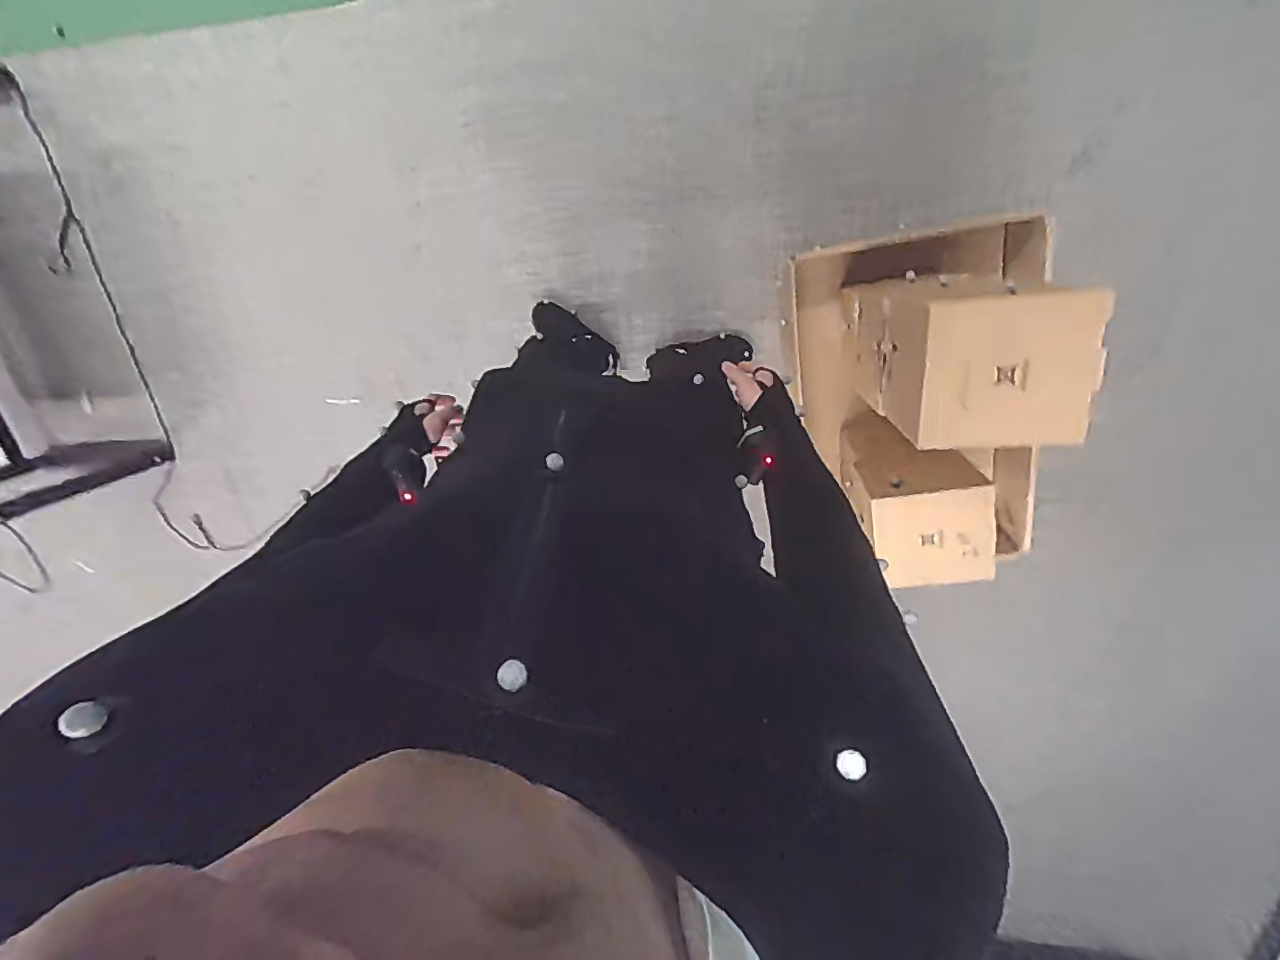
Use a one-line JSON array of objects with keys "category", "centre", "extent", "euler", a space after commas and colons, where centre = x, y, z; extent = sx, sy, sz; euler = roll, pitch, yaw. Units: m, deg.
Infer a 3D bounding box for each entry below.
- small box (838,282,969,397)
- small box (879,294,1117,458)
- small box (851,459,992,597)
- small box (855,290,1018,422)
[{"category": "small box", "centre": [0.453, -0.251, 0.958], "extent": [0.179, 0.176, 0.168], "euler": [-6, 110, 11]}, {"category": "small box", "centre": [0.410, -0.132, 0.657], "extent": [0.179, 0.176, 0.168], "euler": [-1, 111, 9]}, {"category": "small box", "centre": [0.460, 0.075, 0.909], "extent": [0.179, 0.176, 0.168], "euler": [-8, 111, 12]}, {"category": "small box", "centre": [0.430, -0.189, 0.808], "extent": [0.179, 0.176, 0.168], "euler": [-2, 112, 9]}]
